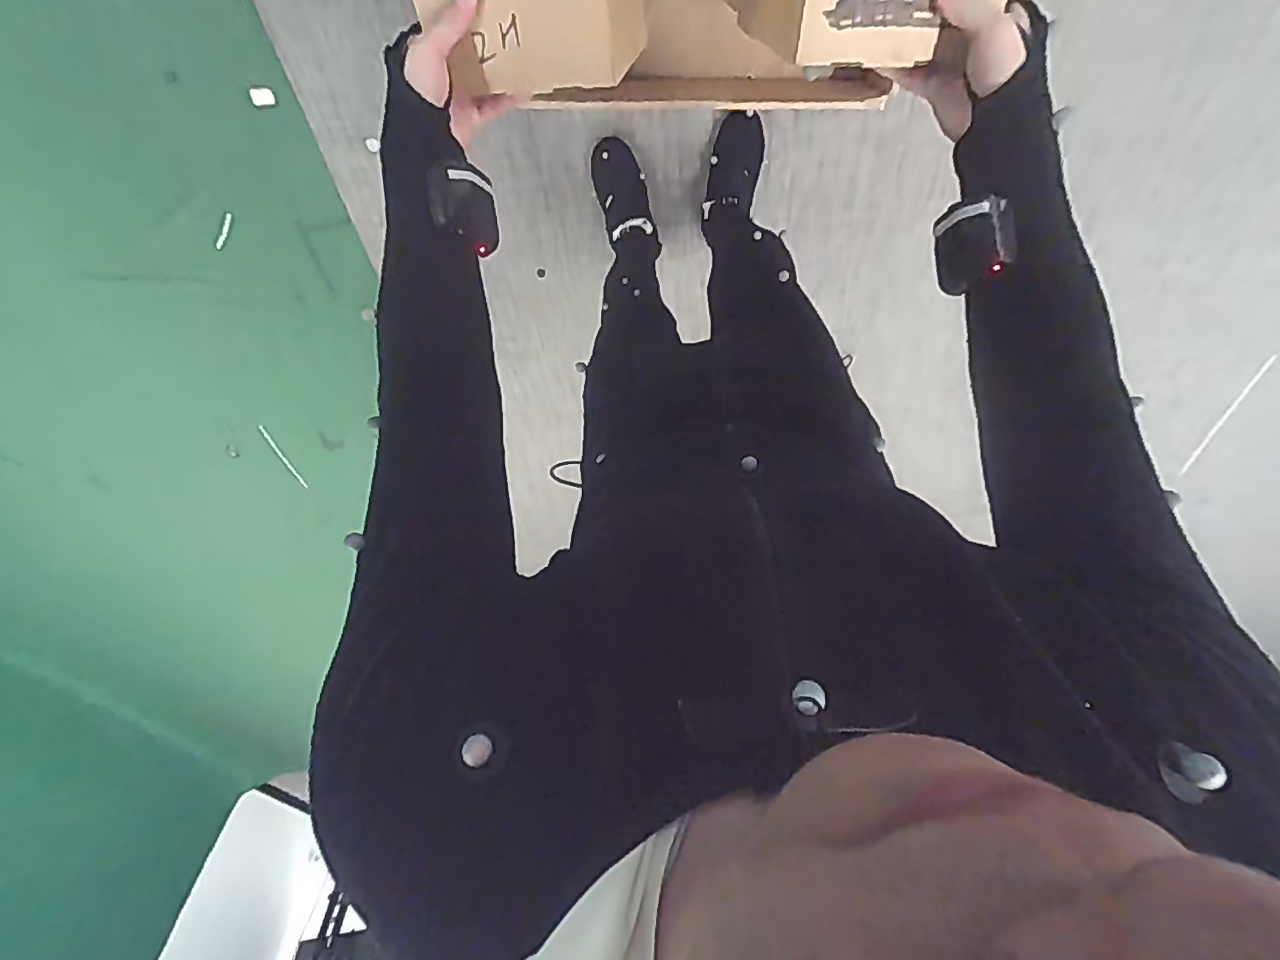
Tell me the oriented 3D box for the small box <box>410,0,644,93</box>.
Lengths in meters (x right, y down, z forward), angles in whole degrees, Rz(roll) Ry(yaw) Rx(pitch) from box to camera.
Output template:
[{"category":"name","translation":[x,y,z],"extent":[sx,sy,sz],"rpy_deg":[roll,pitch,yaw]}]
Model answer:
[{"category":"small box","translation":[-0.096,-0.460,0.460],"extent":[0.168,0.176,0.179],"rpy_deg":[4,139,11]}]

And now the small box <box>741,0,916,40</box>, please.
[{"category":"small box","translation":[0.204,-0.590,0.573],"extent":[0.168,0.176,0.179],"rpy_deg":[0,134,0]}]
